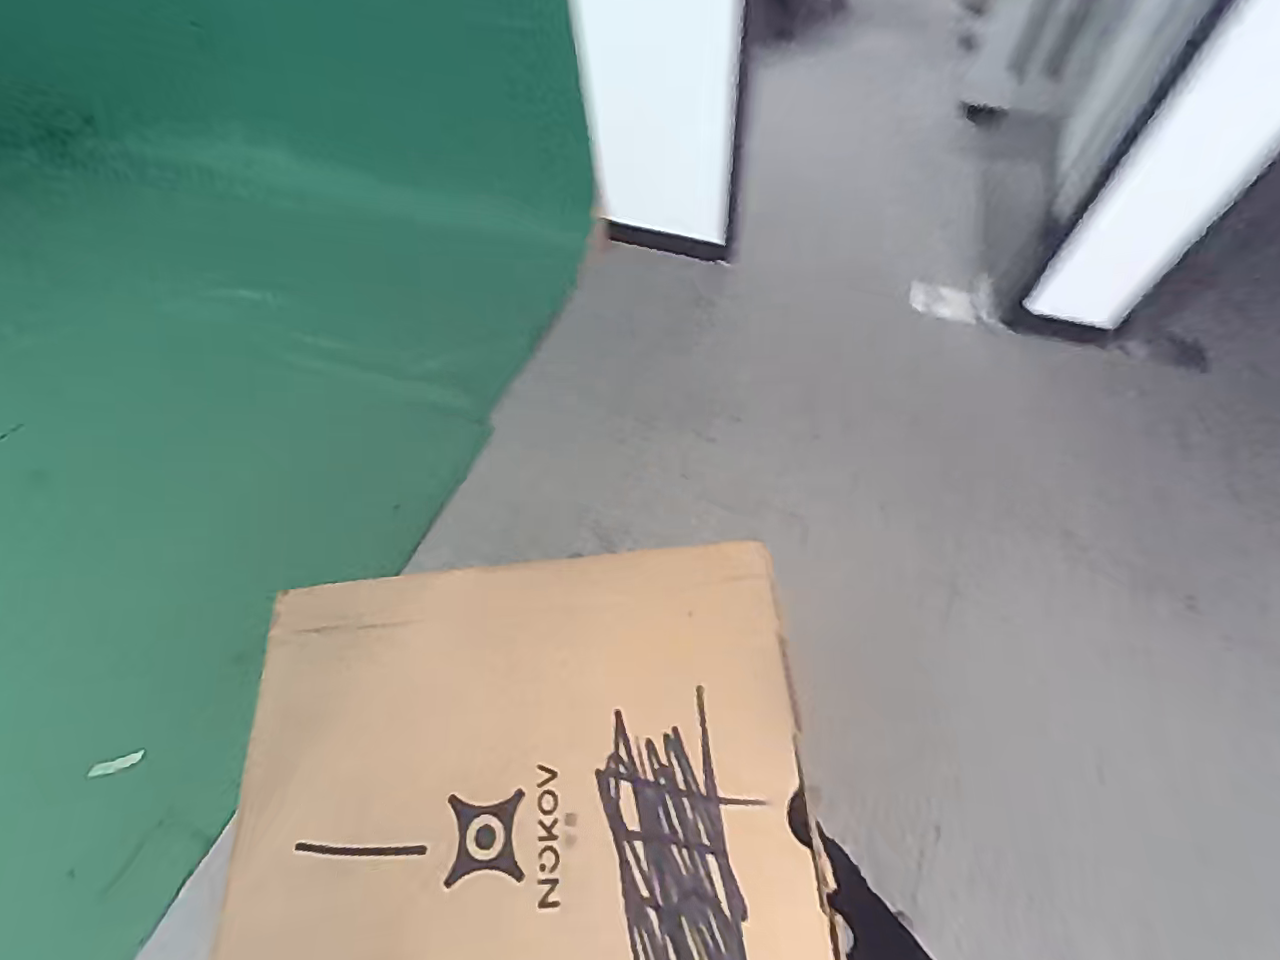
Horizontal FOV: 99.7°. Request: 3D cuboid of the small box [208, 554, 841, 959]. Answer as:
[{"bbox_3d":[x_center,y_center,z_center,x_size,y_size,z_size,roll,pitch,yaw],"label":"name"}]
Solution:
[{"bbox_3d":[-0.031,0.139,0.229,0.179,0.176,0.168,-7,66,3],"label":"small box"}]
